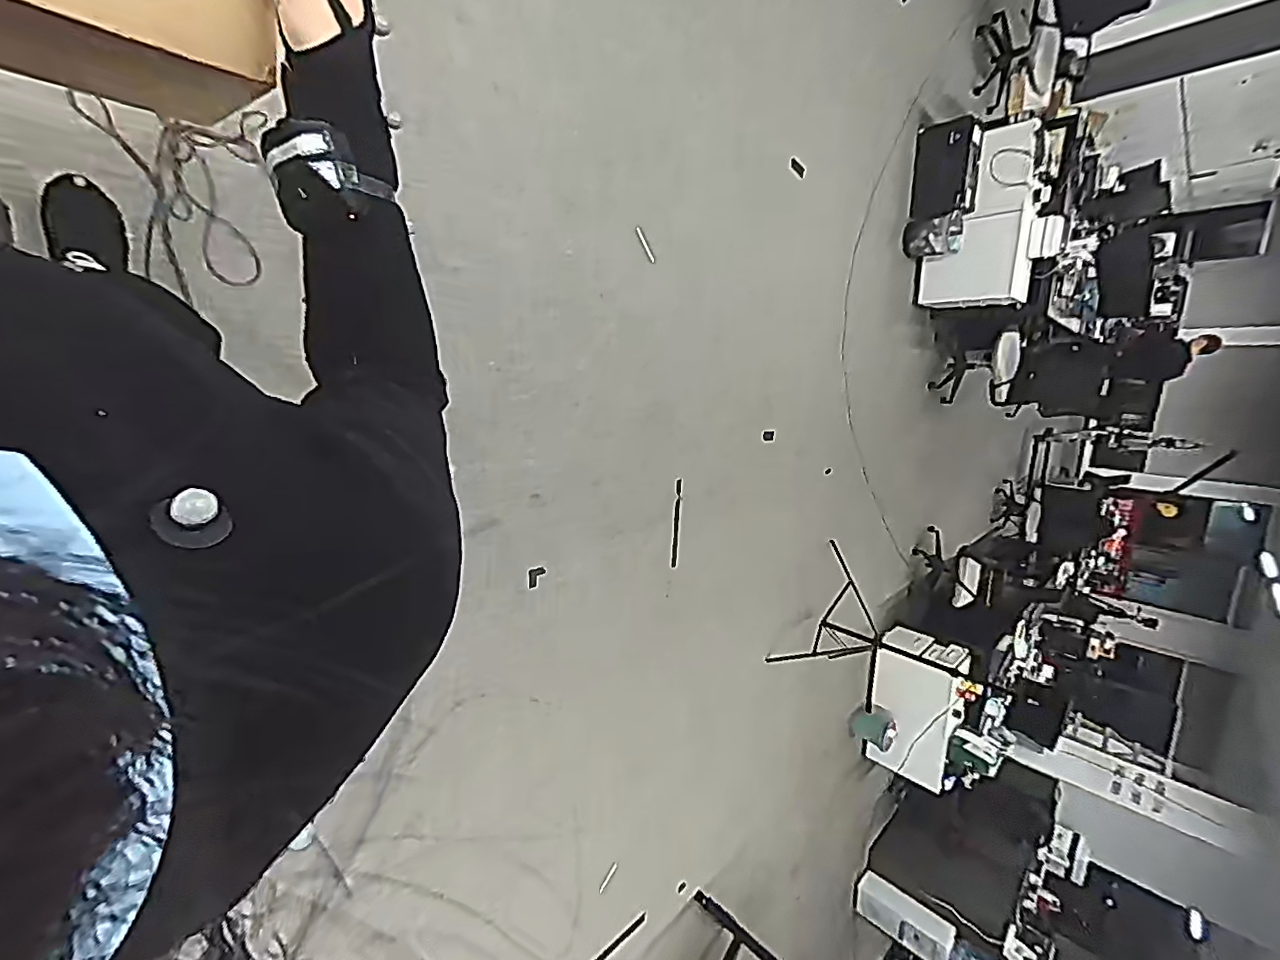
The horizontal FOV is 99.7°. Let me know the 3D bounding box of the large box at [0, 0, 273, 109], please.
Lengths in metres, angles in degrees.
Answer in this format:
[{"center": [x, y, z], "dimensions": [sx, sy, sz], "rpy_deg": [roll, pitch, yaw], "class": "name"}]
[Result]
[{"center": [-0.495, -0.478, 0.325], "dimensions": [0.408, 0.320, 0.320], "rpy_deg": [-8, 114, -43], "class": "large box"}]
